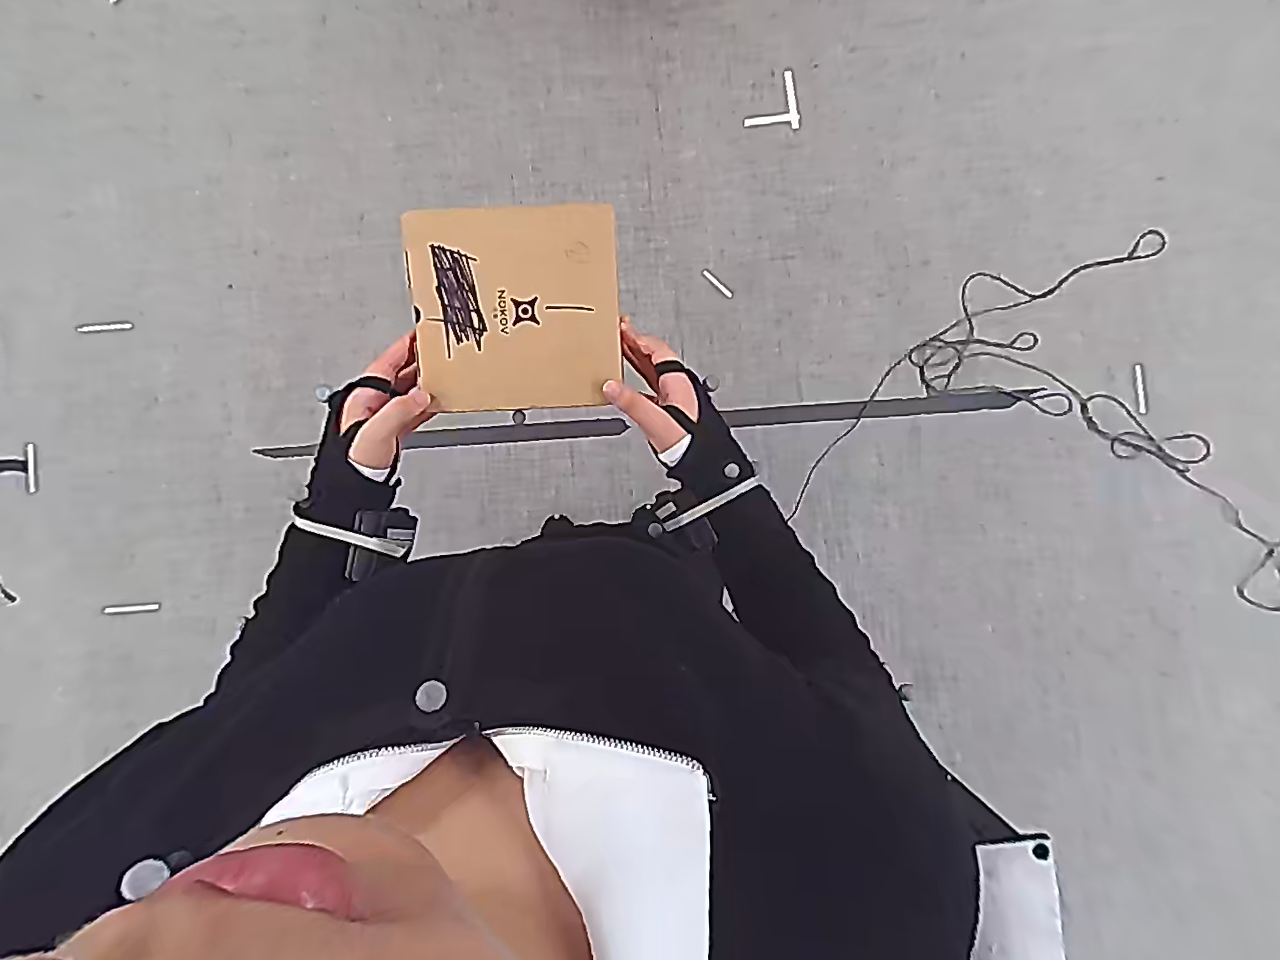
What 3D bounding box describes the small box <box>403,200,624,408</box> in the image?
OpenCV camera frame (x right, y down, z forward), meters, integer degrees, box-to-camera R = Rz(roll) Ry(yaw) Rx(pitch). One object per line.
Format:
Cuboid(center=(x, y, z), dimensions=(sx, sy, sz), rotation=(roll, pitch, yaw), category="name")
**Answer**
Cuboid(center=(-0.108, -0.158, 0.535), dimensions=(0.179, 0.176, 0.168), rotation=(-3, 98, -1), category="small box")
